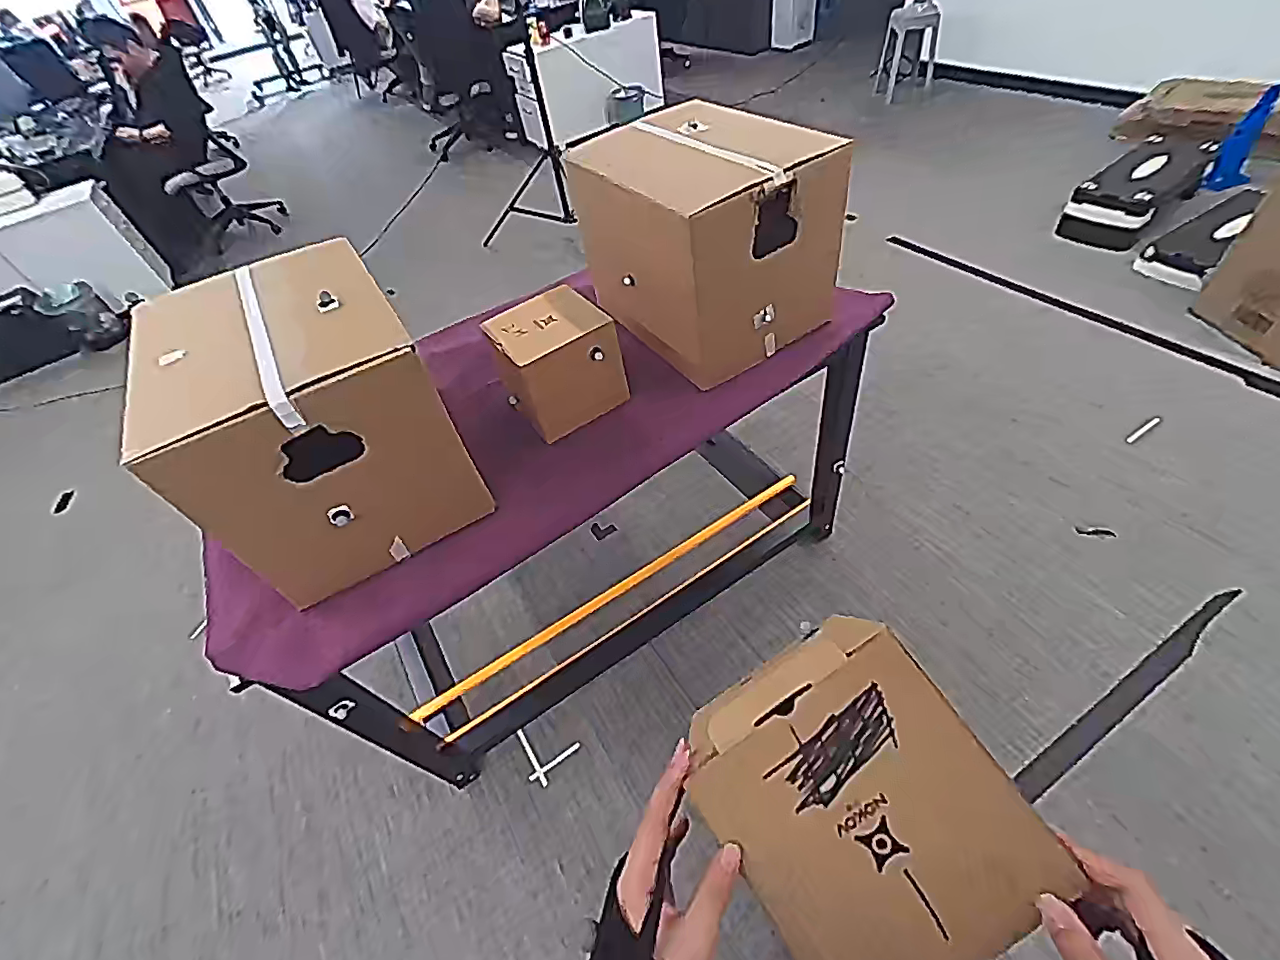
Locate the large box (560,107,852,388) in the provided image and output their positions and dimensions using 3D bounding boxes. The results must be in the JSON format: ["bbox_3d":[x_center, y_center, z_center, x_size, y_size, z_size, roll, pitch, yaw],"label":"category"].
[{"bbox_3d":[0.113,-0.436,0.994,0.320,0.320,0.408,-30,49,-15],"label":"large box"}]
